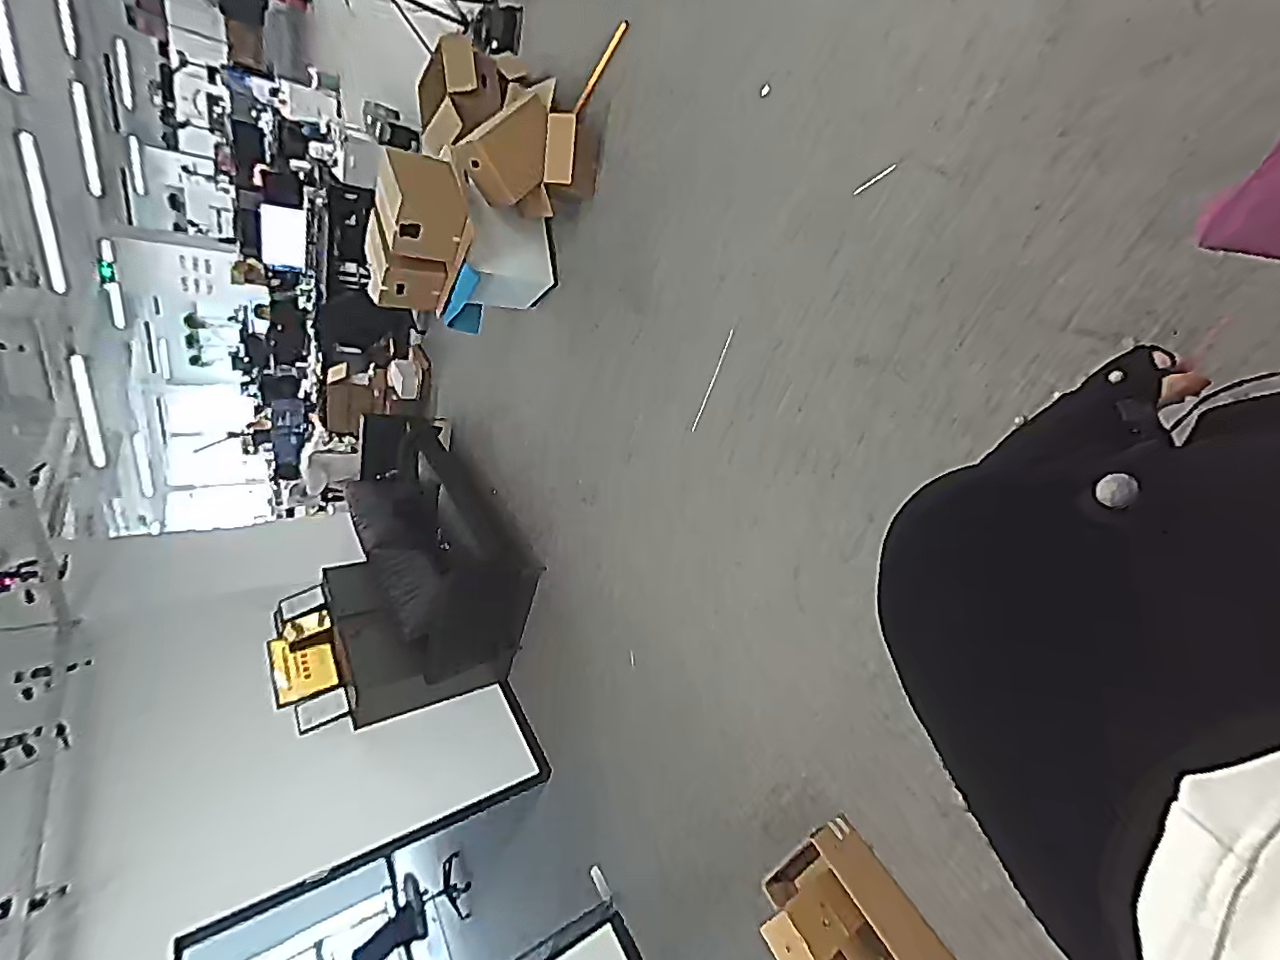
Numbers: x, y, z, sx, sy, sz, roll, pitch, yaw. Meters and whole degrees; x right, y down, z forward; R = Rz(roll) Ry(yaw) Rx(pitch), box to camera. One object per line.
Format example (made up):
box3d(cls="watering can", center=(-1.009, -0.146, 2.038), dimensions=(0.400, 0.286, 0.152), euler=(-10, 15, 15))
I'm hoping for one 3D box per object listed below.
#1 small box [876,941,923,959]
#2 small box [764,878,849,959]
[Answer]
box3d(cls="small box", center=(0.820, 1.613, 1.702), dimensions=(0.168, 0.176, 0.179), euler=(50, 132, 35))
box3d(cls="small box", center=(0.547, 1.457, 1.767), dimensions=(0.168, 0.176, 0.179), euler=(49, 130, 36))
